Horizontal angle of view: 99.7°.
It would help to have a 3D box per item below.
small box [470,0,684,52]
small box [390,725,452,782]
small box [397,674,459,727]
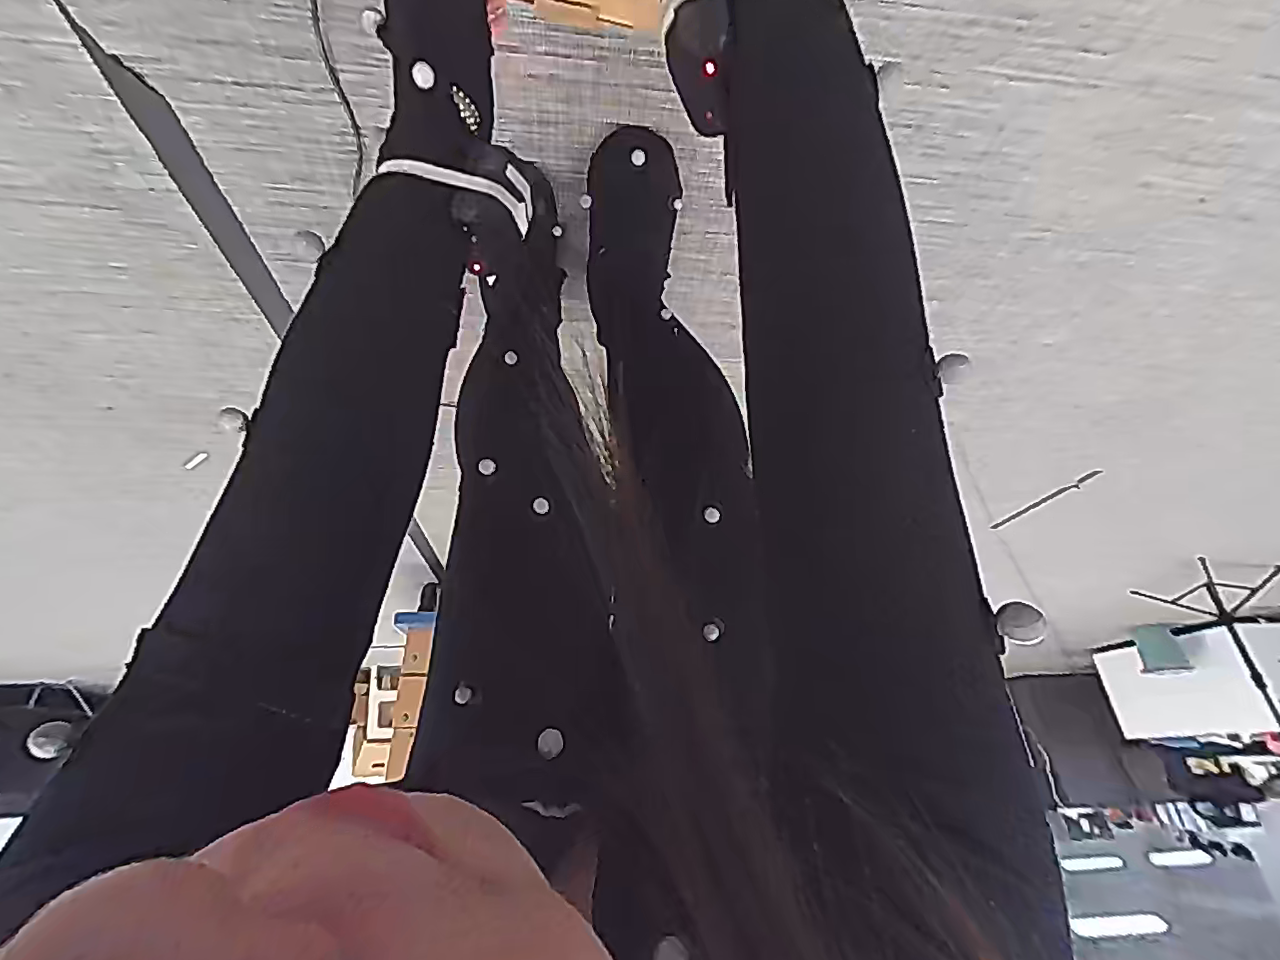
[{"bbox_3d":[-0.037,-0.444,0.360,0.168,0.176,0.179,4,152,-13],"label":"small box"},{"bbox_3d":[-0.744,0.936,1.855,0.168,0.176,0.179,5,152,-13],"label":"small box"},{"bbox_3d":[-0.747,0.787,1.927,0.179,0.176,0.168,5,152,-11],"label":"small box"}]
